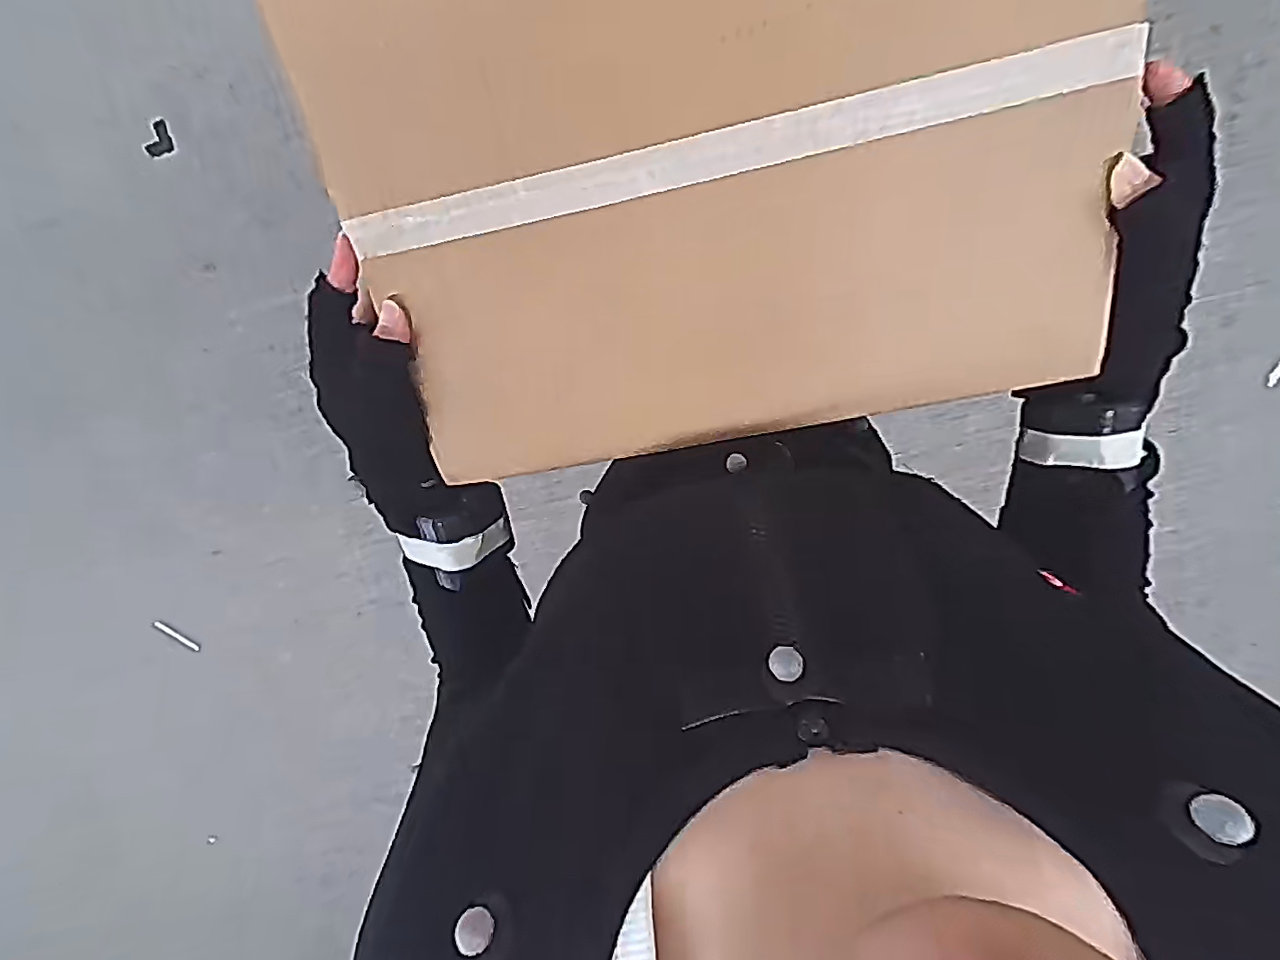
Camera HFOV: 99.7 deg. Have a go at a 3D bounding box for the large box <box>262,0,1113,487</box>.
[{"bbox_3d":[0.040,-0.229,0.424,0.408,0.320,0.320,-10,113,7],"label":"large box"}]
